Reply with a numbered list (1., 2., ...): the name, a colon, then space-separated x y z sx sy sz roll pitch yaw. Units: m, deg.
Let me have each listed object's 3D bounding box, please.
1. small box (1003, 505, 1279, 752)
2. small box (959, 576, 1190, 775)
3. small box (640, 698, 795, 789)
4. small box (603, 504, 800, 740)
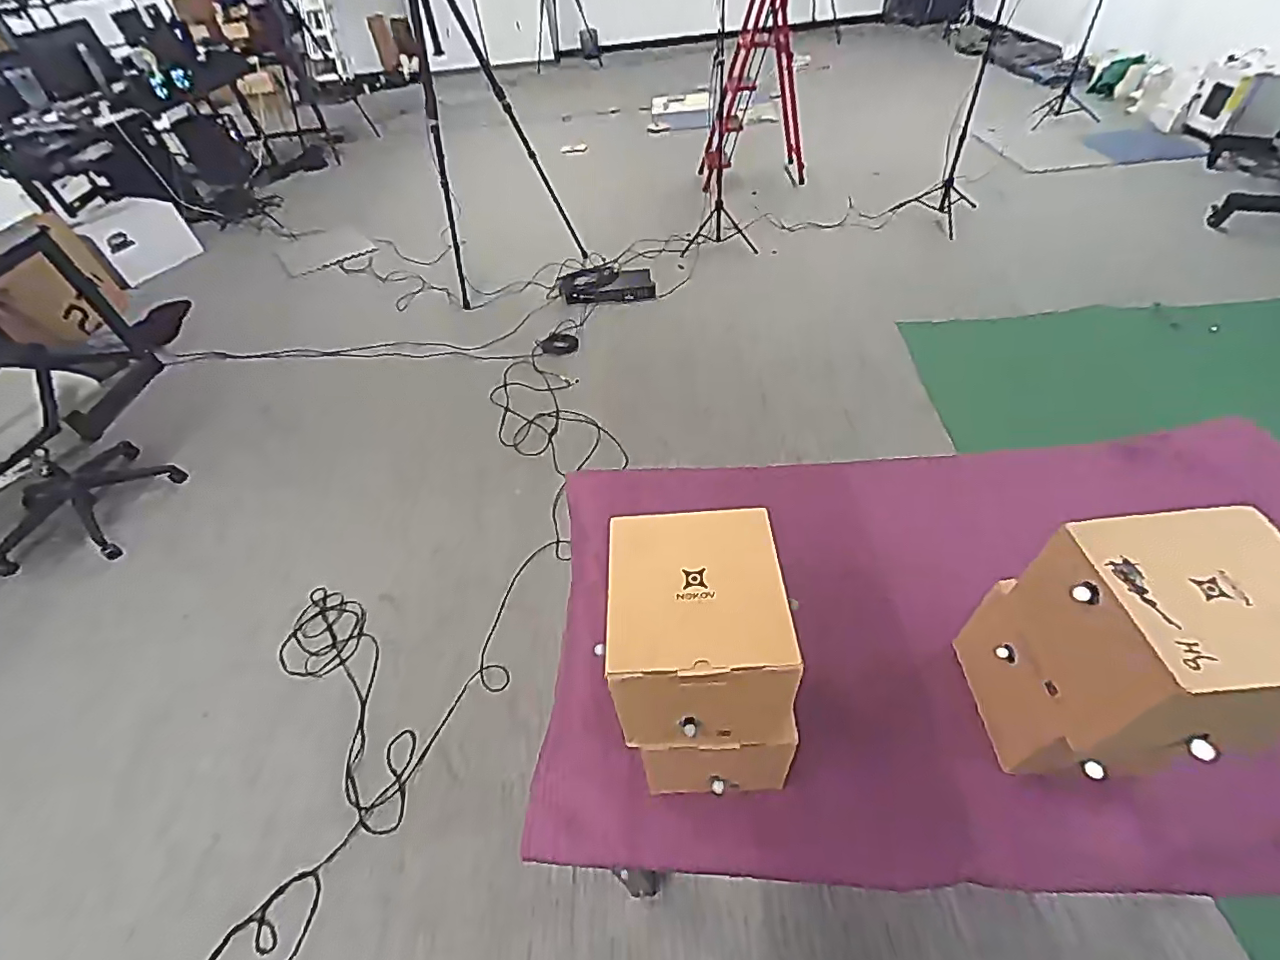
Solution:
1. small box: 0.495 0.143 0.509 0.179 0.176 0.168 -5 47 3
2. small box: 0.518 0.232 0.647 0.168 0.176 0.179 -2 48 5
3. small box: 0.084 0.261 0.669 0.168 0.176 0.179 -4 46 4
4. small box: 0.055 0.146 0.557 0.168 0.176 0.179 -4 46 3
